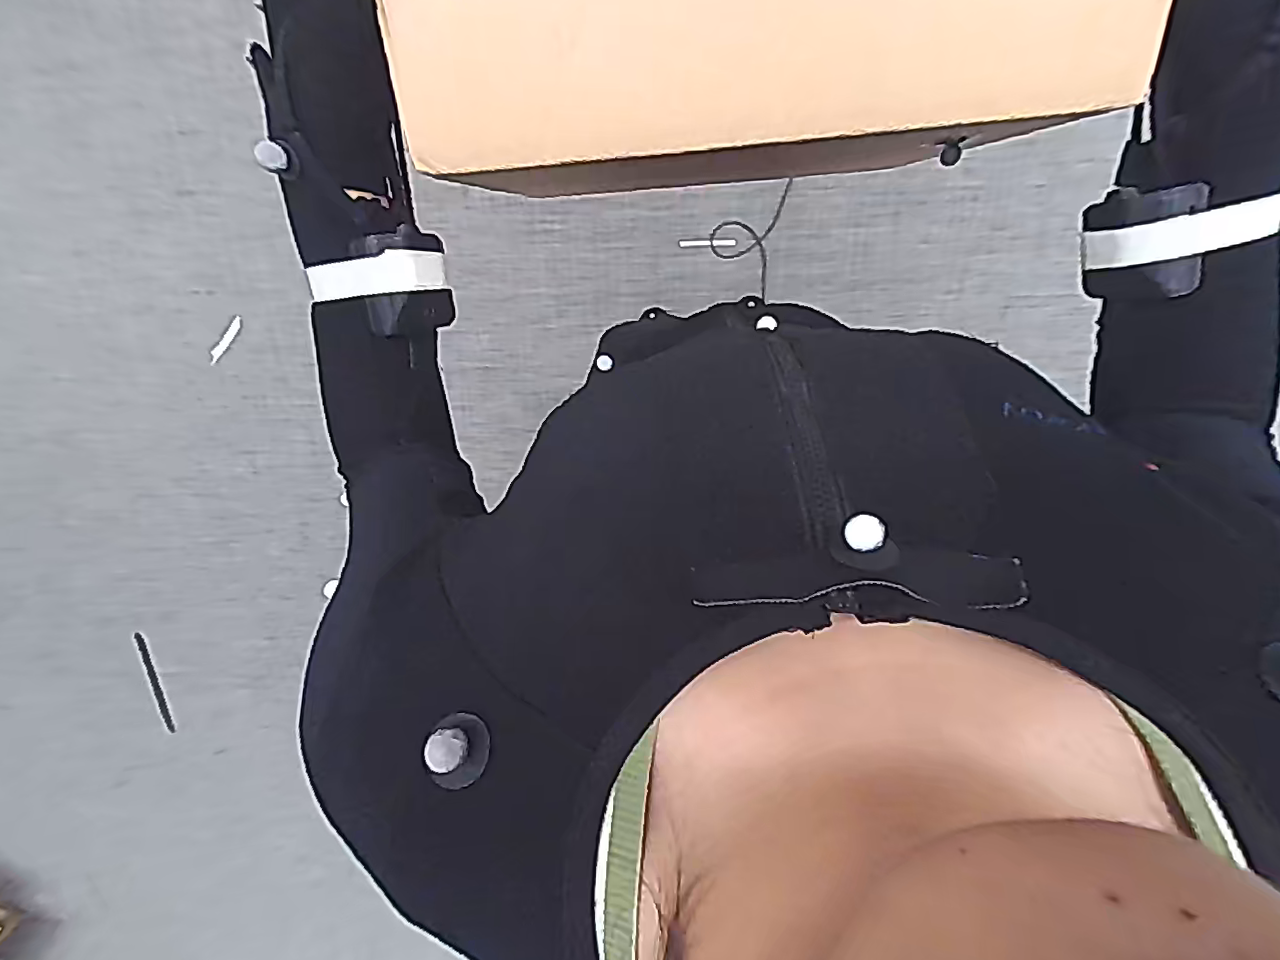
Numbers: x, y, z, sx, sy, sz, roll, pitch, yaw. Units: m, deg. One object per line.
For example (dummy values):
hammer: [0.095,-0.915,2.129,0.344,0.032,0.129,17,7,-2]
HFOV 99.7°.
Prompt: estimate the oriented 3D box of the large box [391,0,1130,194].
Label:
large box: [0.061,-0.400,0.388,0.408,0.320,0.320,-3,115,4]
